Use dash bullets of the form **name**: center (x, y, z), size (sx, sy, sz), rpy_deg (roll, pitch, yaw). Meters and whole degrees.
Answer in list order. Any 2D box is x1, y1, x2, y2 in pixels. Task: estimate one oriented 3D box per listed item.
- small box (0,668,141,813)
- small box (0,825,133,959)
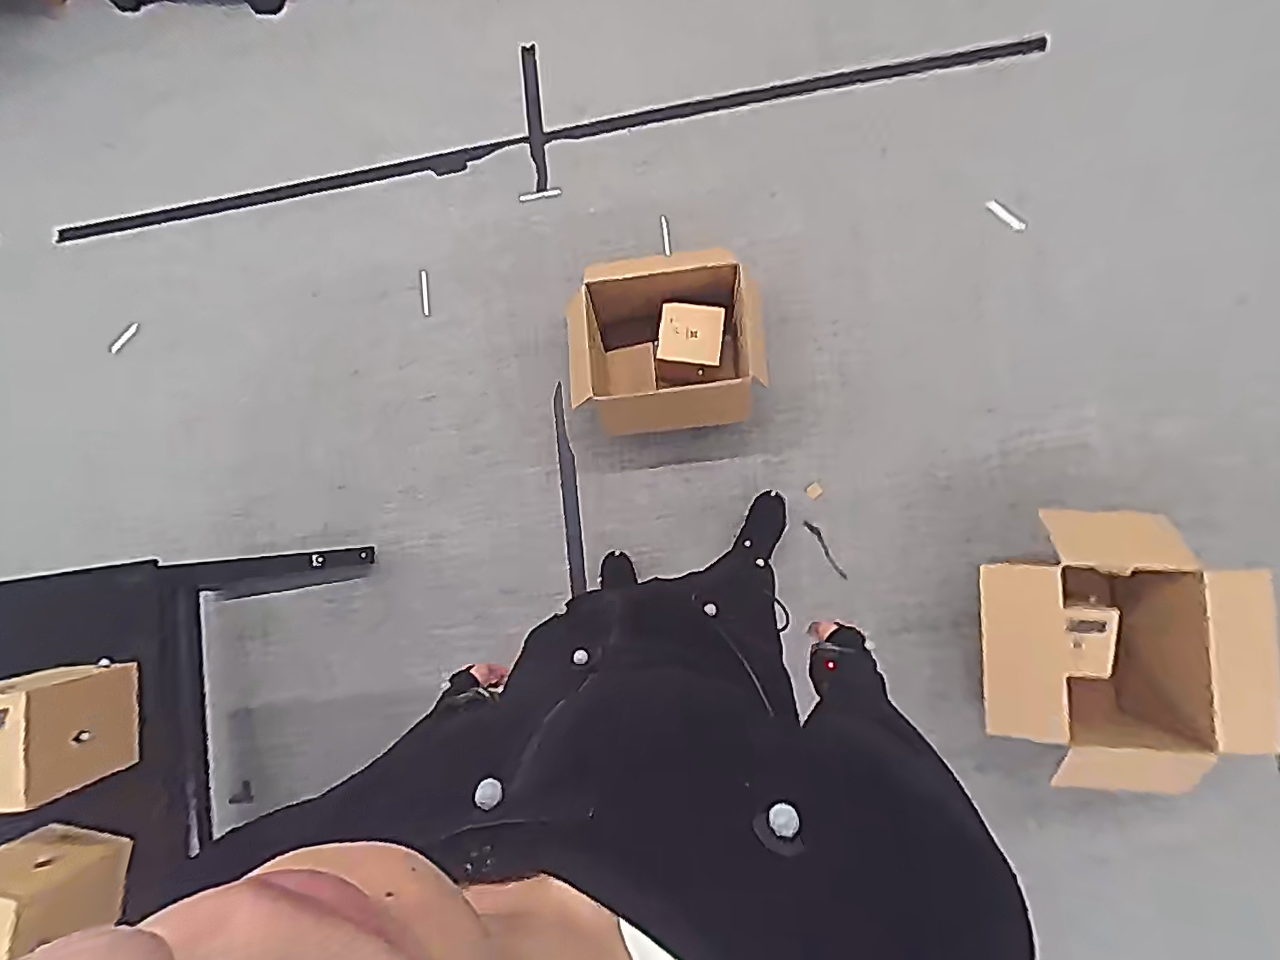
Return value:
- **small box**: center (-0.978, 0.418, 0.893), size (0.168, 0.176, 0.179), rpy_deg (-6, 86, 6)
- **small box**: center (-0.981, 0.698, 0.874), size (0.168, 0.176, 0.179), rpy_deg (5, 87, 7)
